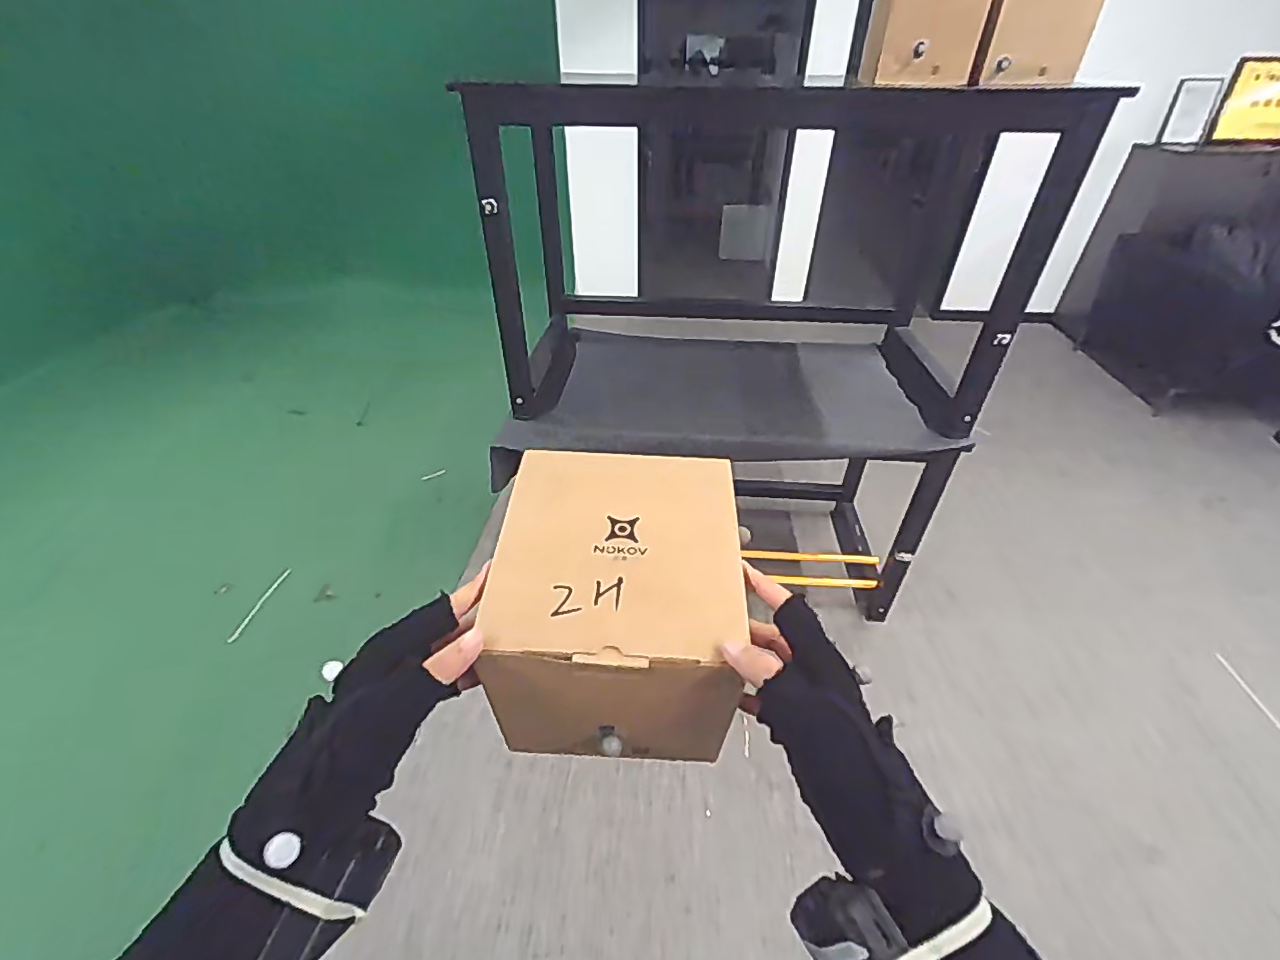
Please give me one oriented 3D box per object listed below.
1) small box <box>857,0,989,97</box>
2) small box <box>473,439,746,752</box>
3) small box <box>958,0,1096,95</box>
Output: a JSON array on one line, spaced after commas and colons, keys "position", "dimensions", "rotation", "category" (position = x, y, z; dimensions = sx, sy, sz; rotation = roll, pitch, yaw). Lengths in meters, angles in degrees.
[{"position": [0.526, -0.837, 1.026], "dimensions": [0.168, 0.176, 0.179], "rotation": [5, 38, 6], "category": "small box"}, {"position": [-0.017, 0.090, 0.431], "dimensions": [0.168, 0.176, 0.179], "rotation": [3, 44, 1], "category": "small box"}, {"position": [0.708, -0.828, 1.011], "dimensions": [0.168, 0.176, 0.179], "rotation": [4, 37, 6], "category": "small box"}]
